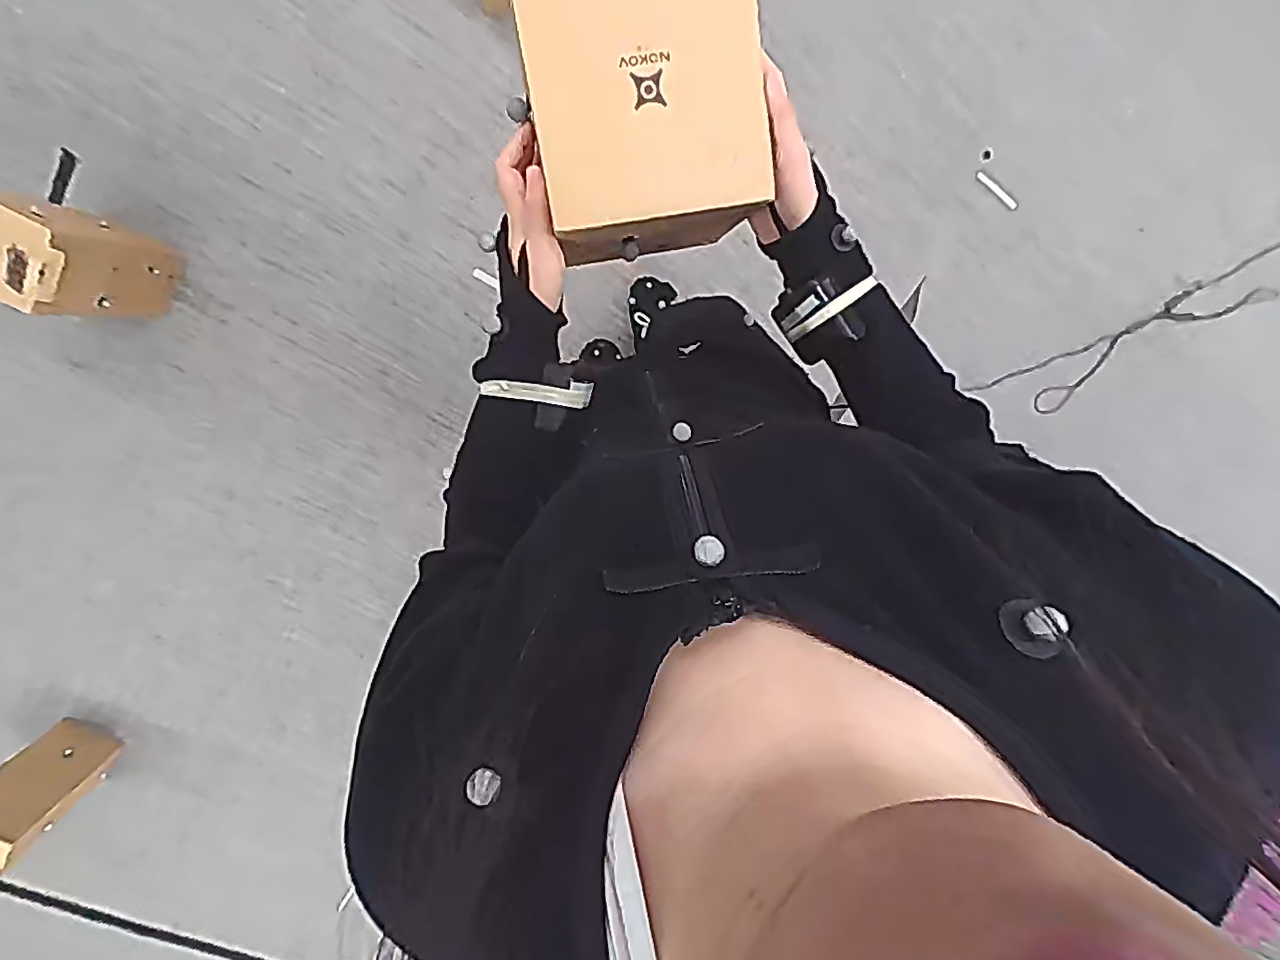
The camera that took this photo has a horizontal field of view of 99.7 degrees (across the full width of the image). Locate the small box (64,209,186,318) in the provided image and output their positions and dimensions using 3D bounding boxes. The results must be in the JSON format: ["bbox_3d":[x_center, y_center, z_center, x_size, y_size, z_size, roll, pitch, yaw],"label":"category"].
[{"bbox_3d":[-1.168,-0.475,1.197,0.179,0.176,0.168,26,102,-11],"label":"small box"}]

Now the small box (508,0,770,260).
[{"bbox_3d":[-0.005,-0.292,0.449,0.168,0.176,0.179,-11,103,-4],"label":"small box"}]

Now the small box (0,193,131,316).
[{"bbox_3d":[-1.150,-0.433,1.039,0.179,0.176,0.168,27,102,-12],"label":"small box"}]

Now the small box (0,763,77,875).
[{"bbox_3d":[-1.625,0.863,1.377,0.179,0.176,0.168,34,101,-14],"label":"small box"}]
